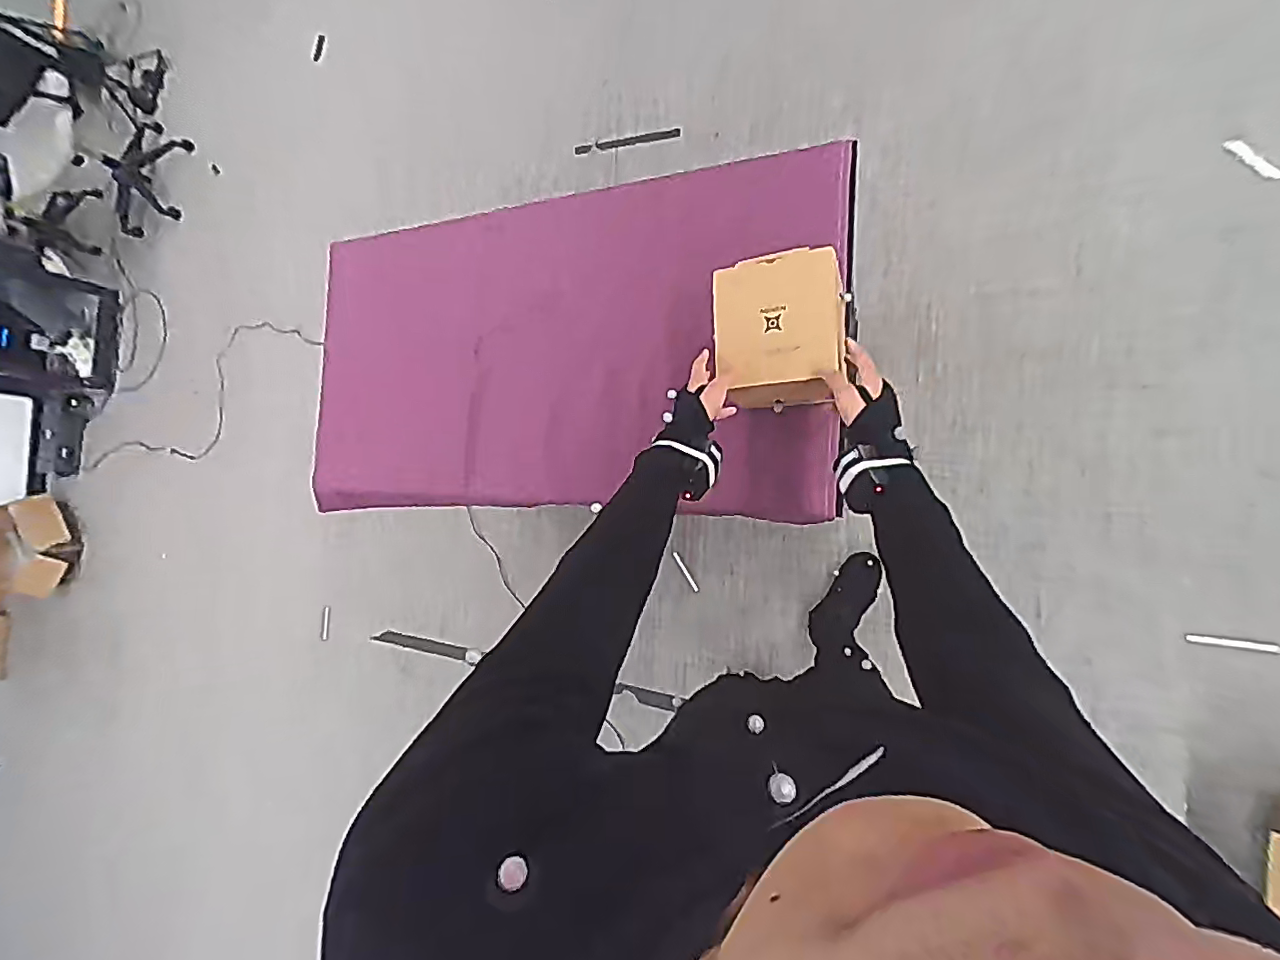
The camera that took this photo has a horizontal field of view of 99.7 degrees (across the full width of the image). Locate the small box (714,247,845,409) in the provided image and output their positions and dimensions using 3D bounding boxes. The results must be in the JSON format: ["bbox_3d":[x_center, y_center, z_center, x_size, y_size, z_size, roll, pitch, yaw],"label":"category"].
[{"bbox_3d":[0.212,-0.213,0.807,0.168,0.176,0.179,-2,86,25],"label":"small box"}]
